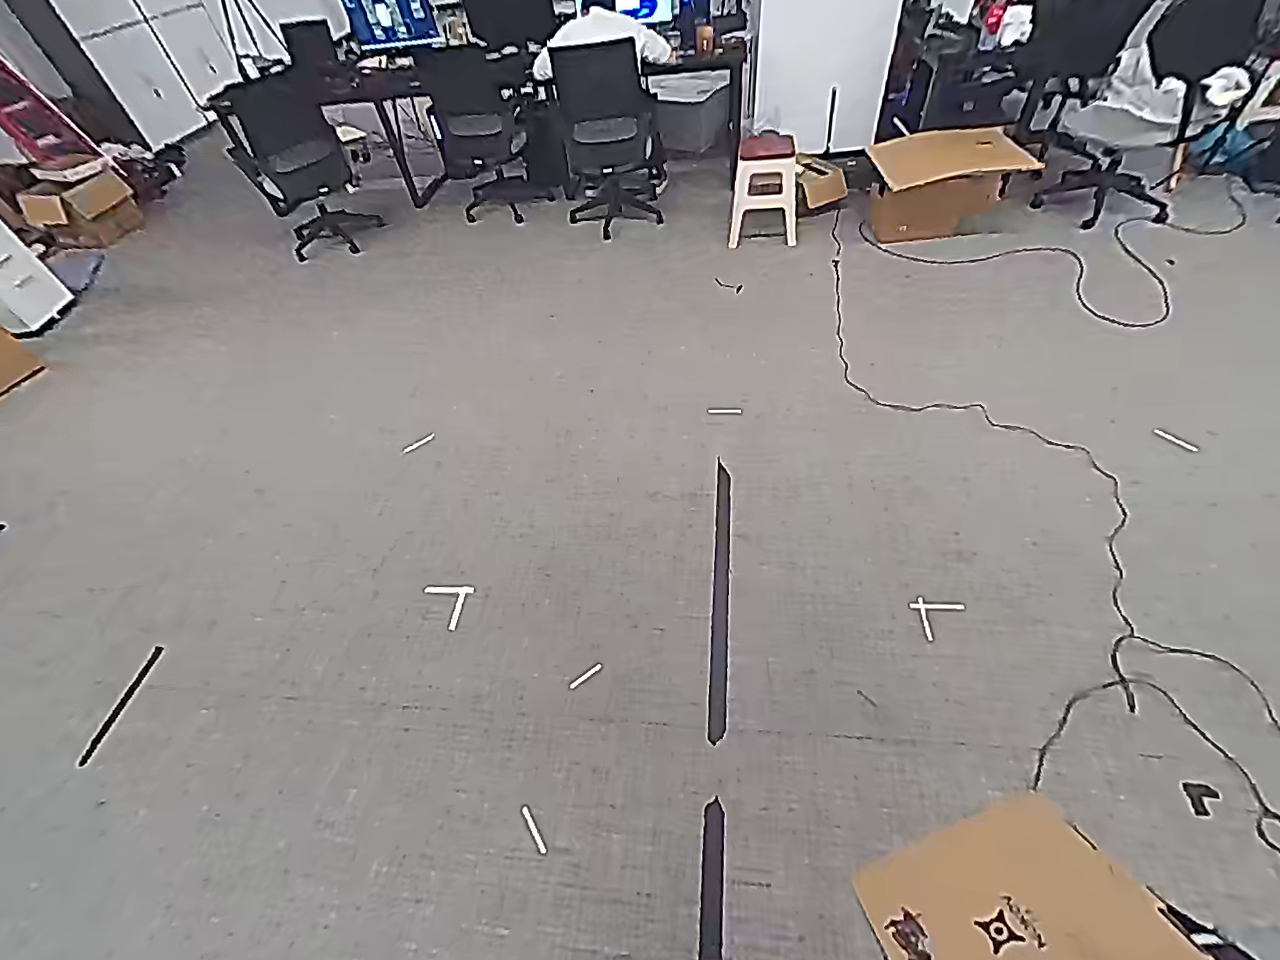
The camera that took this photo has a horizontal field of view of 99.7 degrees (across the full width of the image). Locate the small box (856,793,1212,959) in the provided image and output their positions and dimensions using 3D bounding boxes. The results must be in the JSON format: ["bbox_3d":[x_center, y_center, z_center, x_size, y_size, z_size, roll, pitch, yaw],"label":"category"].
[{"bbox_3d":[0.300,0.389,0.401,0.179,0.176,0.168,-25,11,1],"label":"small box"}]
